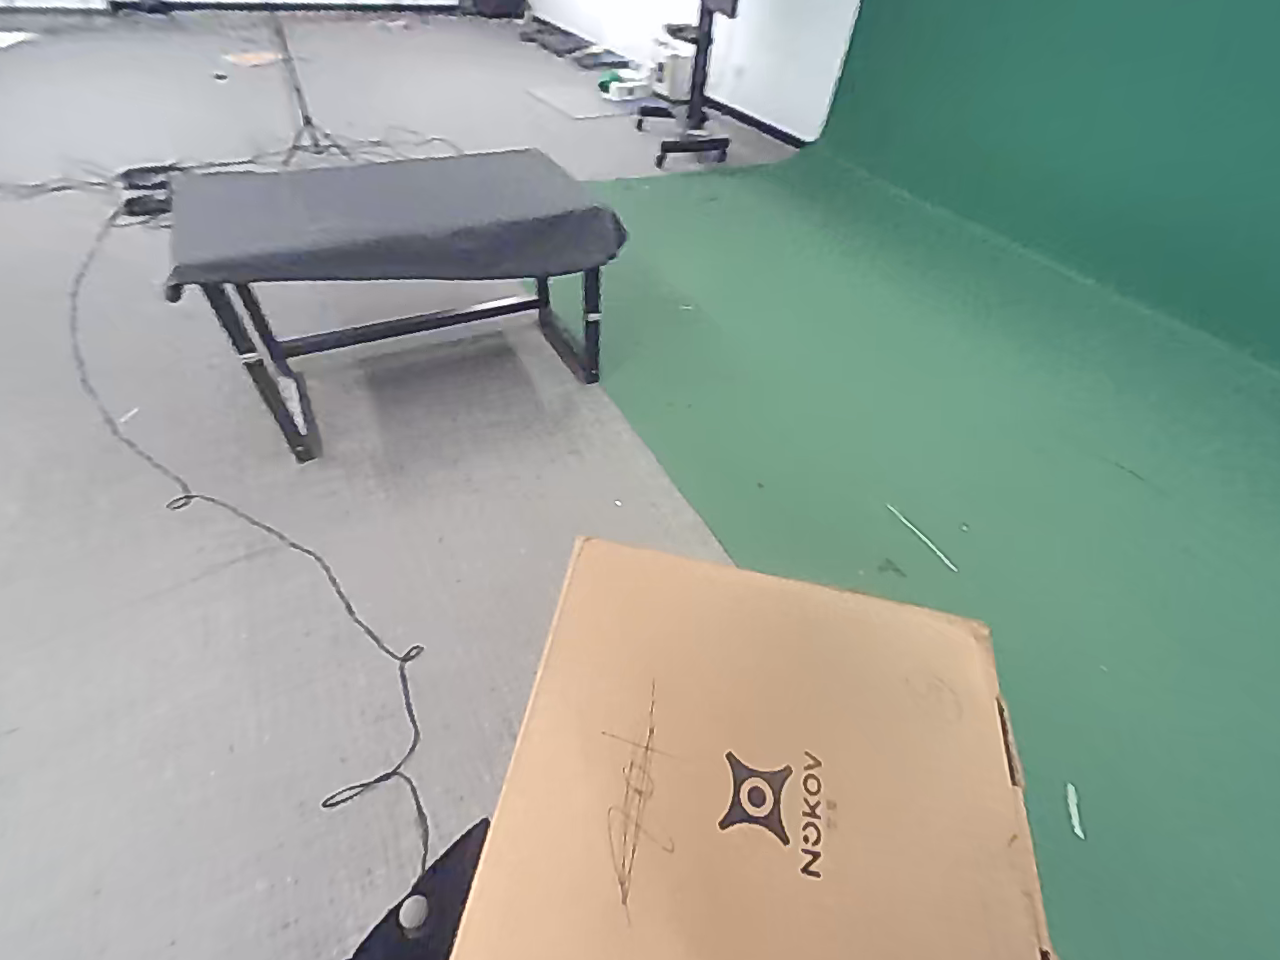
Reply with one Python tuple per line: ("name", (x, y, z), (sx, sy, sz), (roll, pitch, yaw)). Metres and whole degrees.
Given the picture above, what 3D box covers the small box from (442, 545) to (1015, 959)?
("small box", (0.032, 0.154, 0.255), (0.179, 0.176, 0.168), (9, 55, 3))
